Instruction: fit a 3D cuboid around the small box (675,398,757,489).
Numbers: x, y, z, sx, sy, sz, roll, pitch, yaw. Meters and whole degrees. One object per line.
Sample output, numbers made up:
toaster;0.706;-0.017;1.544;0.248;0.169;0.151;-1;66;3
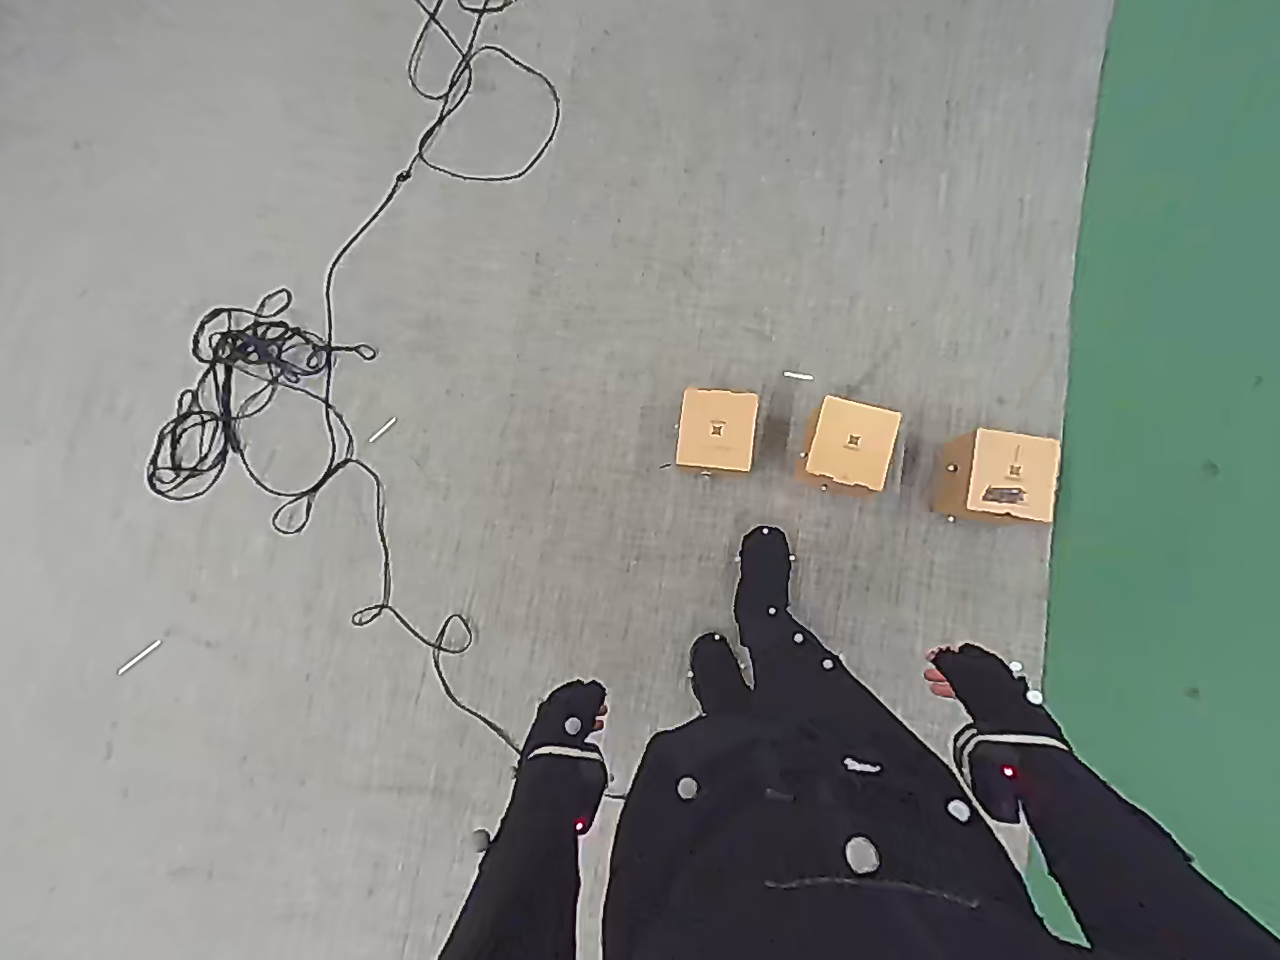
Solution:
small box;0.176;-0.080;1.268;0.168;0.176;0.179;6;85;8

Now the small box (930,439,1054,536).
small box;0.766;0.024;1.193;0.168;0.176;0.179;11;83;7

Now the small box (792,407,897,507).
small box;0.457;-0.046;1.235;0.168;0.176;0.179;16;85;7
